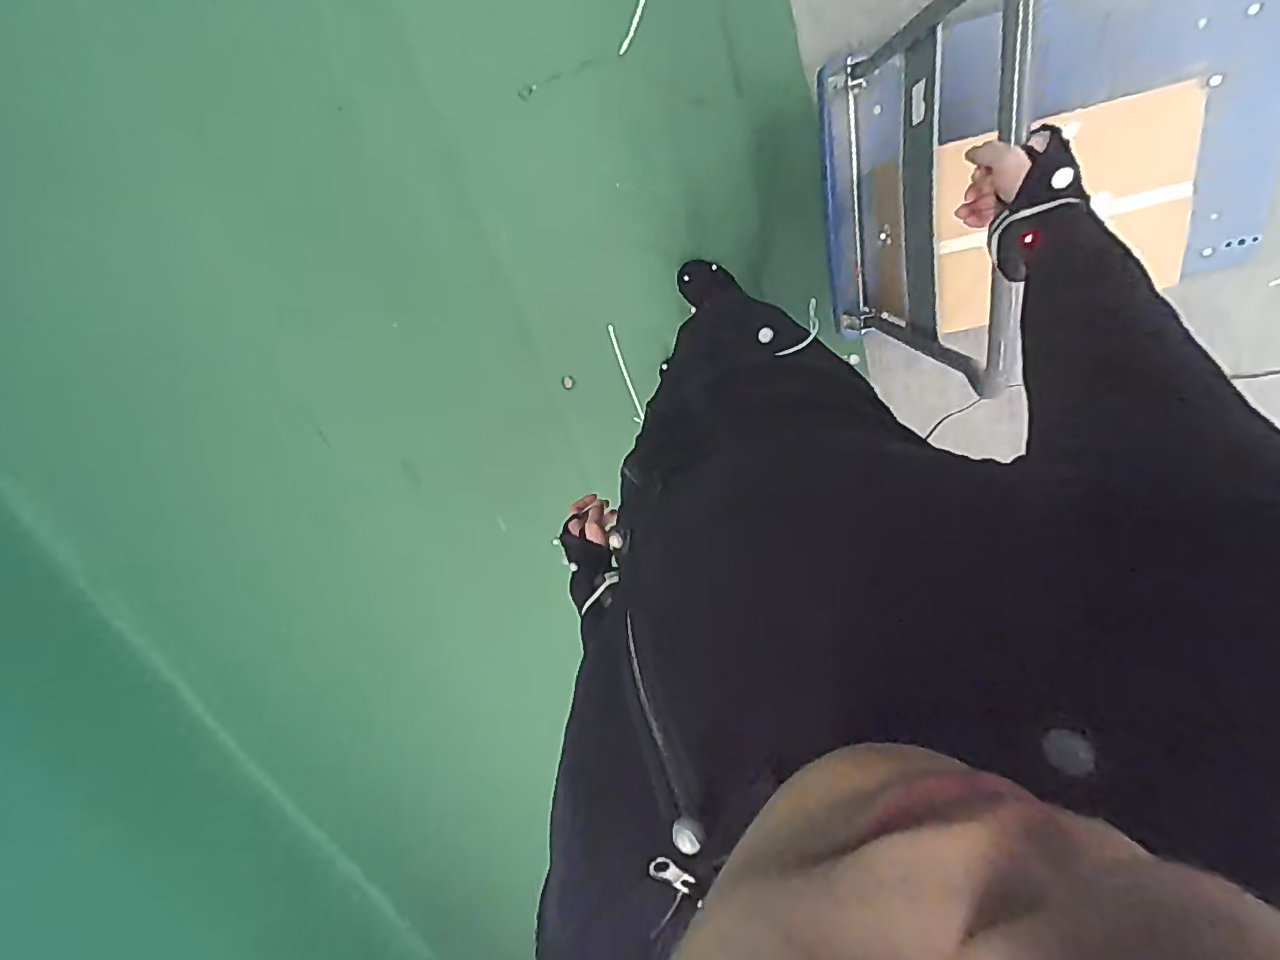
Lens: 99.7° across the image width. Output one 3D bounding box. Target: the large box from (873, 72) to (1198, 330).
[{"bbox_3d":[0.717,-0.514,1.057,0.408,0.320,0.320,-10,114,10],"label":"large box"}]
